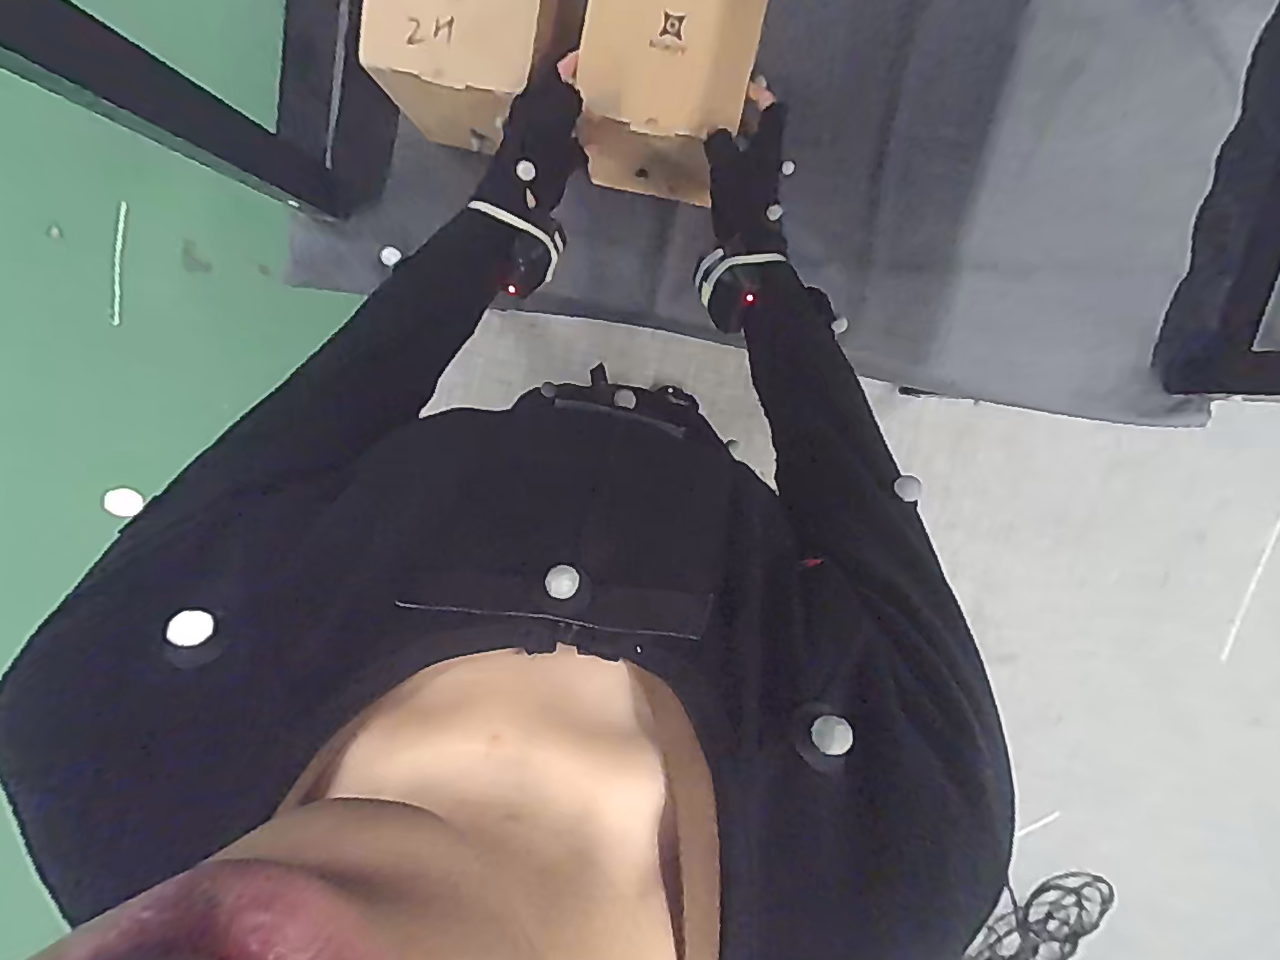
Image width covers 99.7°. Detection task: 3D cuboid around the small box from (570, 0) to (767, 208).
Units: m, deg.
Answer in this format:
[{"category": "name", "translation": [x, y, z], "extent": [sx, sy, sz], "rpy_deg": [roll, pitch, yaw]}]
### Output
[{"category": "small box", "translation": [0.031, -0.430, 0.590], "extent": [0.168, 0.176, 0.179], "rpy_deg": [12, 99, 1]}]

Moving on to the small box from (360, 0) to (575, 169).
[{"category": "small box", "translation": [-0.170, -0.477, 0.586], "extent": [0.168, 0.176, 0.179], "rpy_deg": [12, 99, -1]}]
